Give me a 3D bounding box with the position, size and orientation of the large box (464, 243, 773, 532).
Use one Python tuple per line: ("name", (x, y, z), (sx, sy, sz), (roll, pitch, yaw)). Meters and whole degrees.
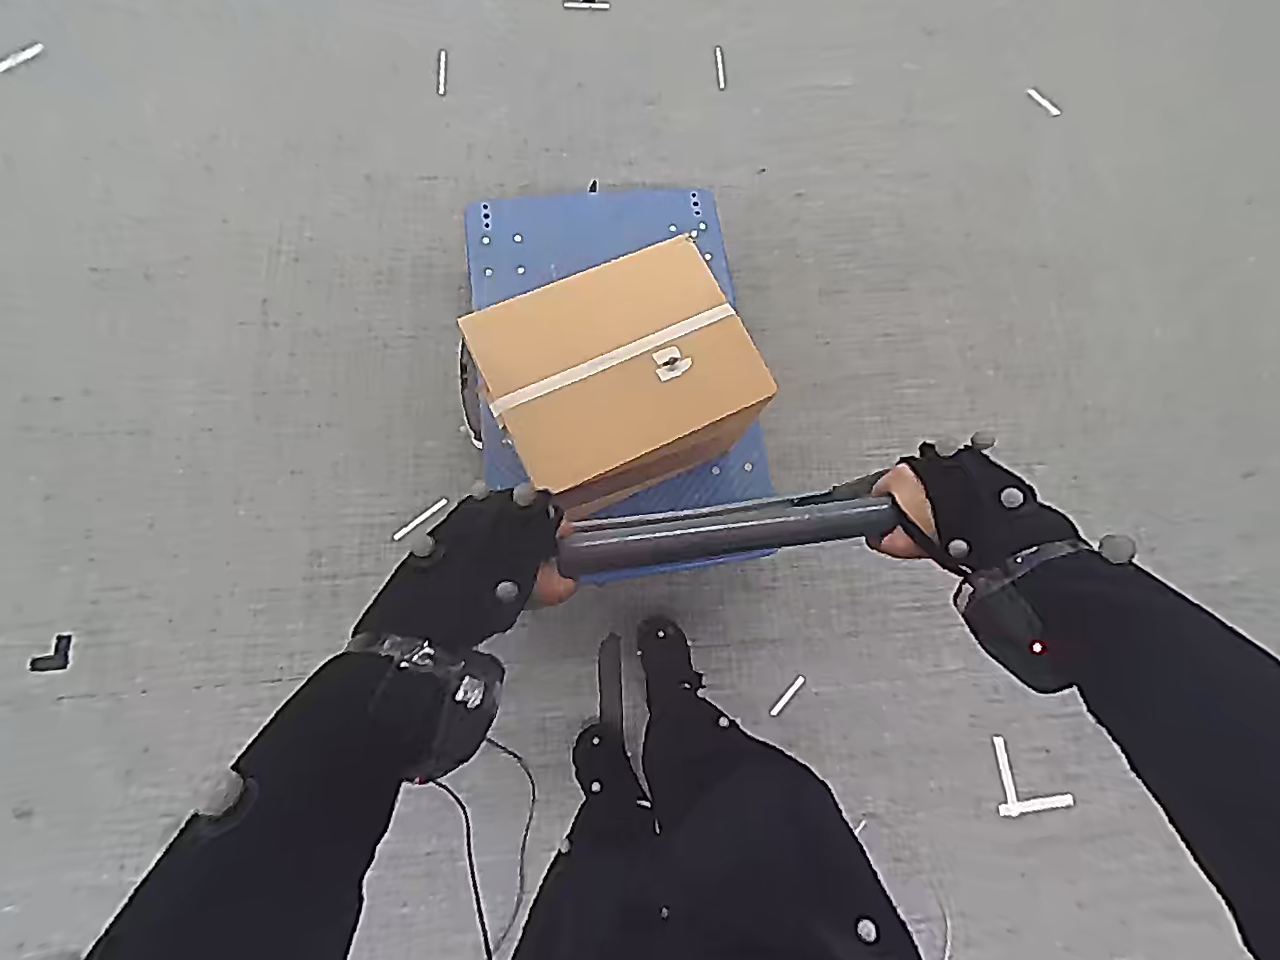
("large box", (-0.046, -0.145, 0.981), (0.408, 0.320, 0.320), (-25, 81, -12))
